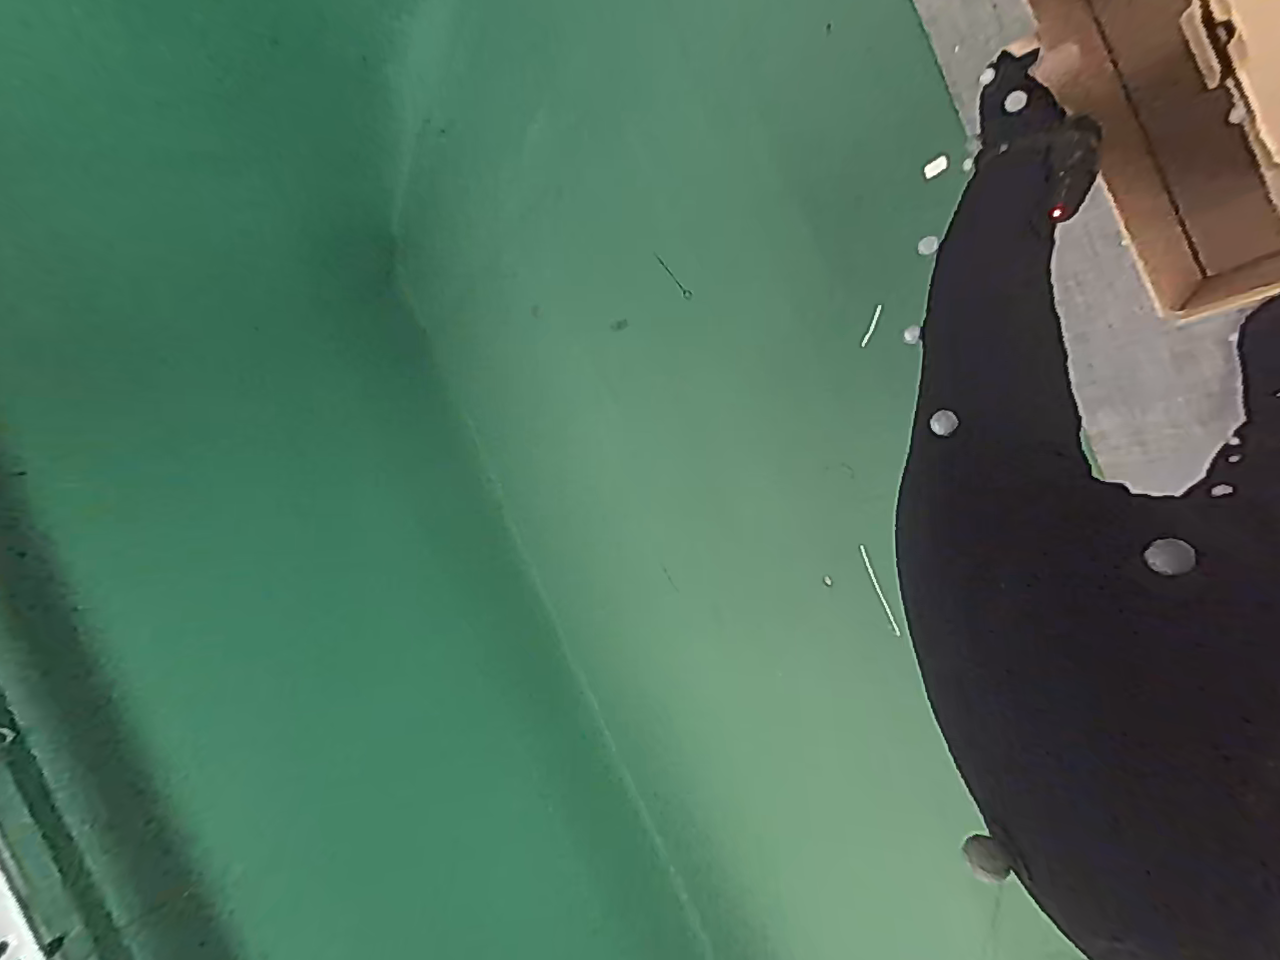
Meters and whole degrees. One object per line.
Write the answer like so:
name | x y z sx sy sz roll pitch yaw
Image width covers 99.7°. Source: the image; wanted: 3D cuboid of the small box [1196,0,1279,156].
small box | 0.433 -0.301 0.278 0.179 0.176 0.168 -23 91 58
